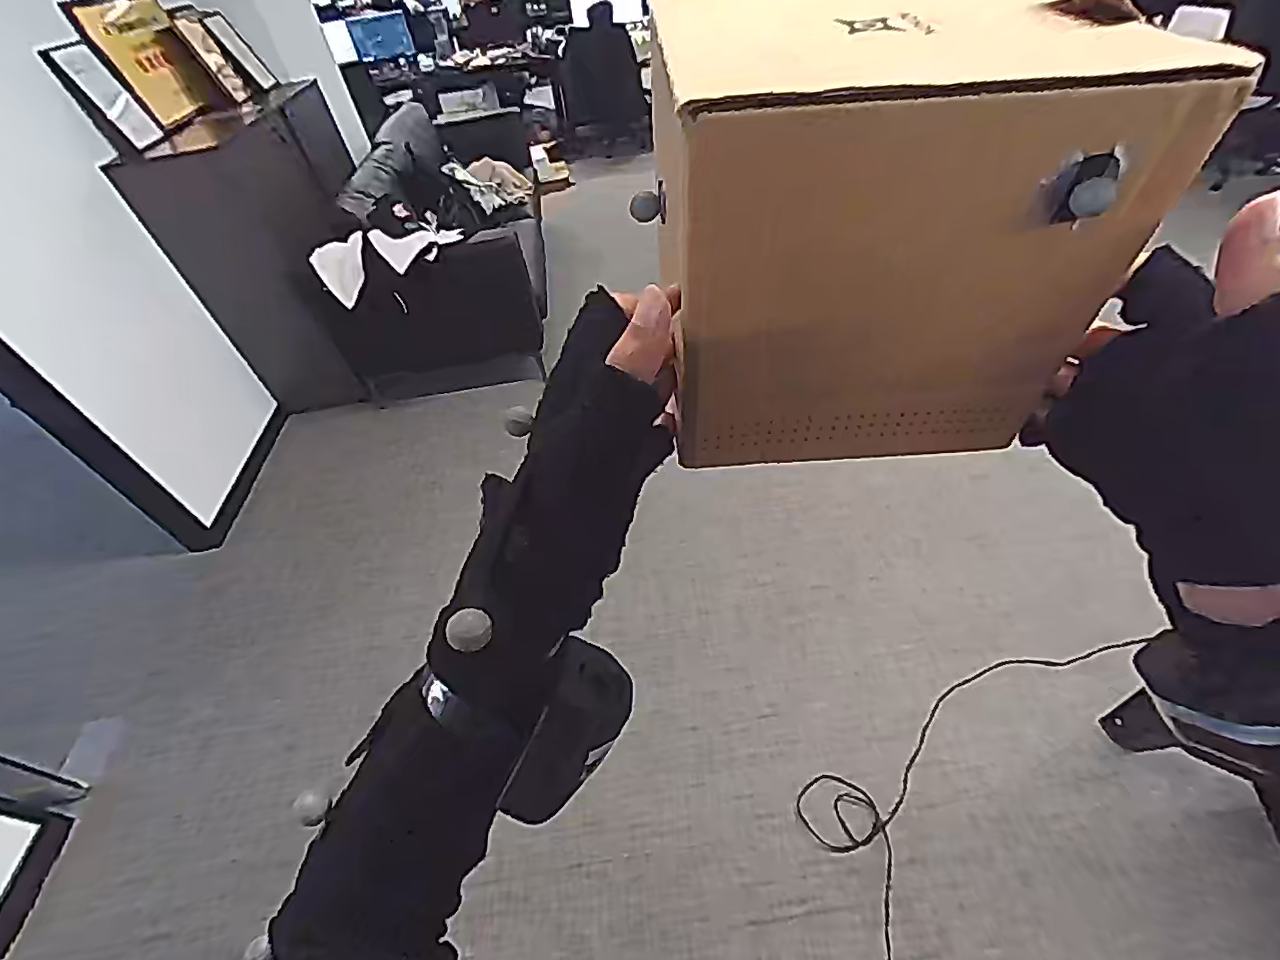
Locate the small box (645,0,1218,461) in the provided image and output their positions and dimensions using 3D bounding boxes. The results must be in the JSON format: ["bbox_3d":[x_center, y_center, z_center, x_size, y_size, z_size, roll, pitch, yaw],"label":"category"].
[{"bbox_3d":[0.097,-0.123,0.281,0.179,0.176,0.168,-4,50,0],"label":"small box"}]
